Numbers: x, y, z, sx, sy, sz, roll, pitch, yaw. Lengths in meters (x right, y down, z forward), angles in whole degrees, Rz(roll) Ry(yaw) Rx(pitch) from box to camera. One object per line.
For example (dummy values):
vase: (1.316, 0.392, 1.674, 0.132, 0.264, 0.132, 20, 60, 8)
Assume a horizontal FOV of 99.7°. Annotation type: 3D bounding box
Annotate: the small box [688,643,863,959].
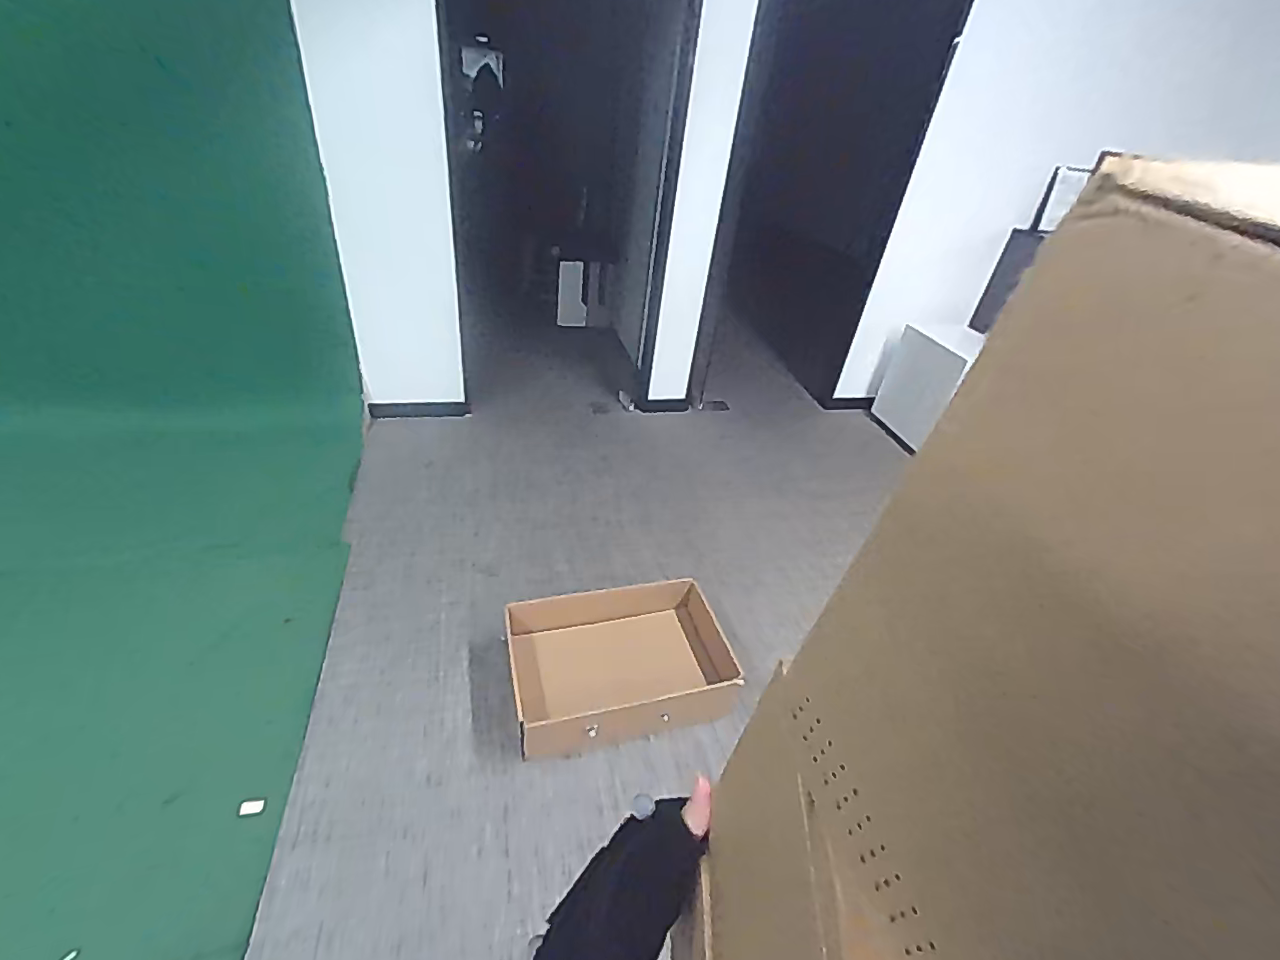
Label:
small box: (0.112, 0.189, 0.203, 0.168, 0.176, 0.179, 7, 42, -1)
